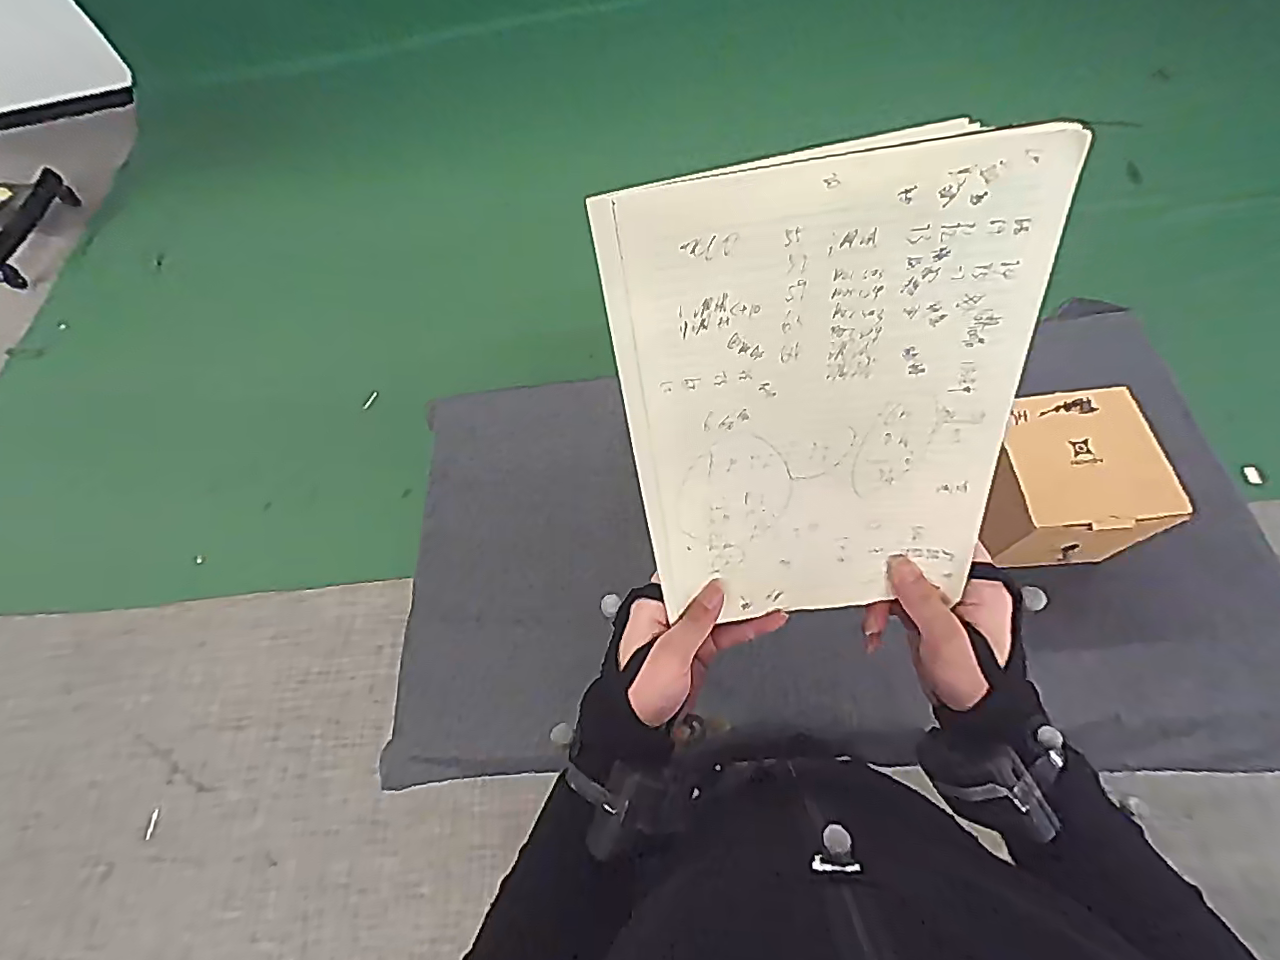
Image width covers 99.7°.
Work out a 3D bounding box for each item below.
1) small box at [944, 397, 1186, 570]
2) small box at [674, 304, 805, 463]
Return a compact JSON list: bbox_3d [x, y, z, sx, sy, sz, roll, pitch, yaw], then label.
[{"bbox_3d":[0.534,0.016,0.713,0.168,0.176,0.179,-6,65,6],"label":"small box"},{"bbox_3d":[0.146,-0.136,0.829,0.168,0.176,0.179,-6,63,4],"label":"small box"}]
